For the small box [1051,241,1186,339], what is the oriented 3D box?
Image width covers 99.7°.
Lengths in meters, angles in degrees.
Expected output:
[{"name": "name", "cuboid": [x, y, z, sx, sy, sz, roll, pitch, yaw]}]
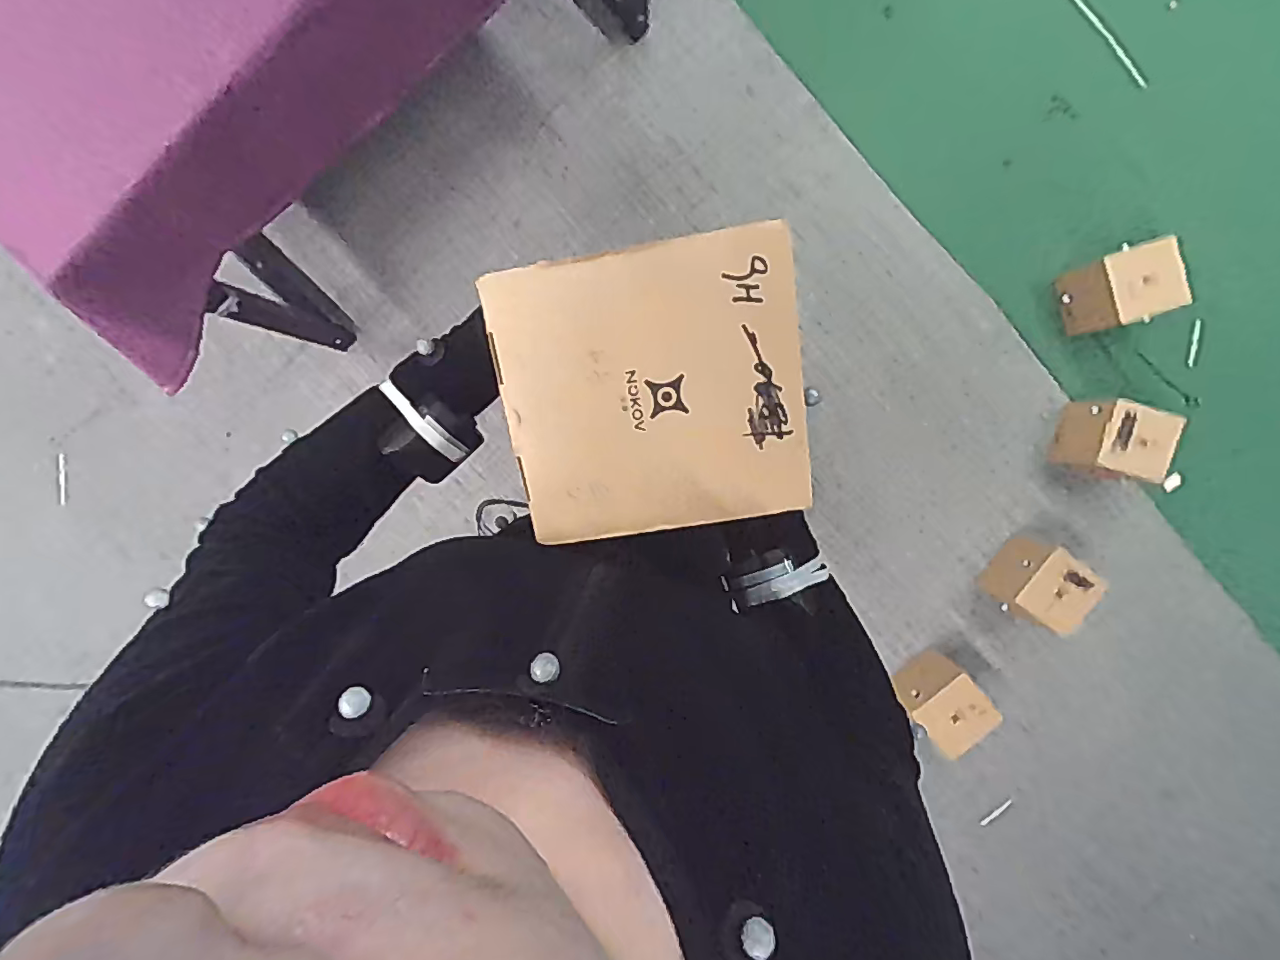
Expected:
[{"name": "small box", "cuboid": [1.197, -0.471, 1.364, 0.179, 0.176, 0.168, -17, 93, 1]}]

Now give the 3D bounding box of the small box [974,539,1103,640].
[{"name": "small box", "cuboid": [1.028, 0.276, 1.412, 0.168, 0.176, 0.179, 37, 94, -2]}]

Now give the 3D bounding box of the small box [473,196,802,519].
[{"name": "small box", "cuboid": [0.007, -0.084, 0.393, 0.179, 0.176, 0.168, -8, 106, 6]}]

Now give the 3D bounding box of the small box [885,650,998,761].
[{"name": "small box", "cuboid": [0.784, 0.589, 1.435, 0.179, 0.176, 0.168, -40, 93, 3]}]
